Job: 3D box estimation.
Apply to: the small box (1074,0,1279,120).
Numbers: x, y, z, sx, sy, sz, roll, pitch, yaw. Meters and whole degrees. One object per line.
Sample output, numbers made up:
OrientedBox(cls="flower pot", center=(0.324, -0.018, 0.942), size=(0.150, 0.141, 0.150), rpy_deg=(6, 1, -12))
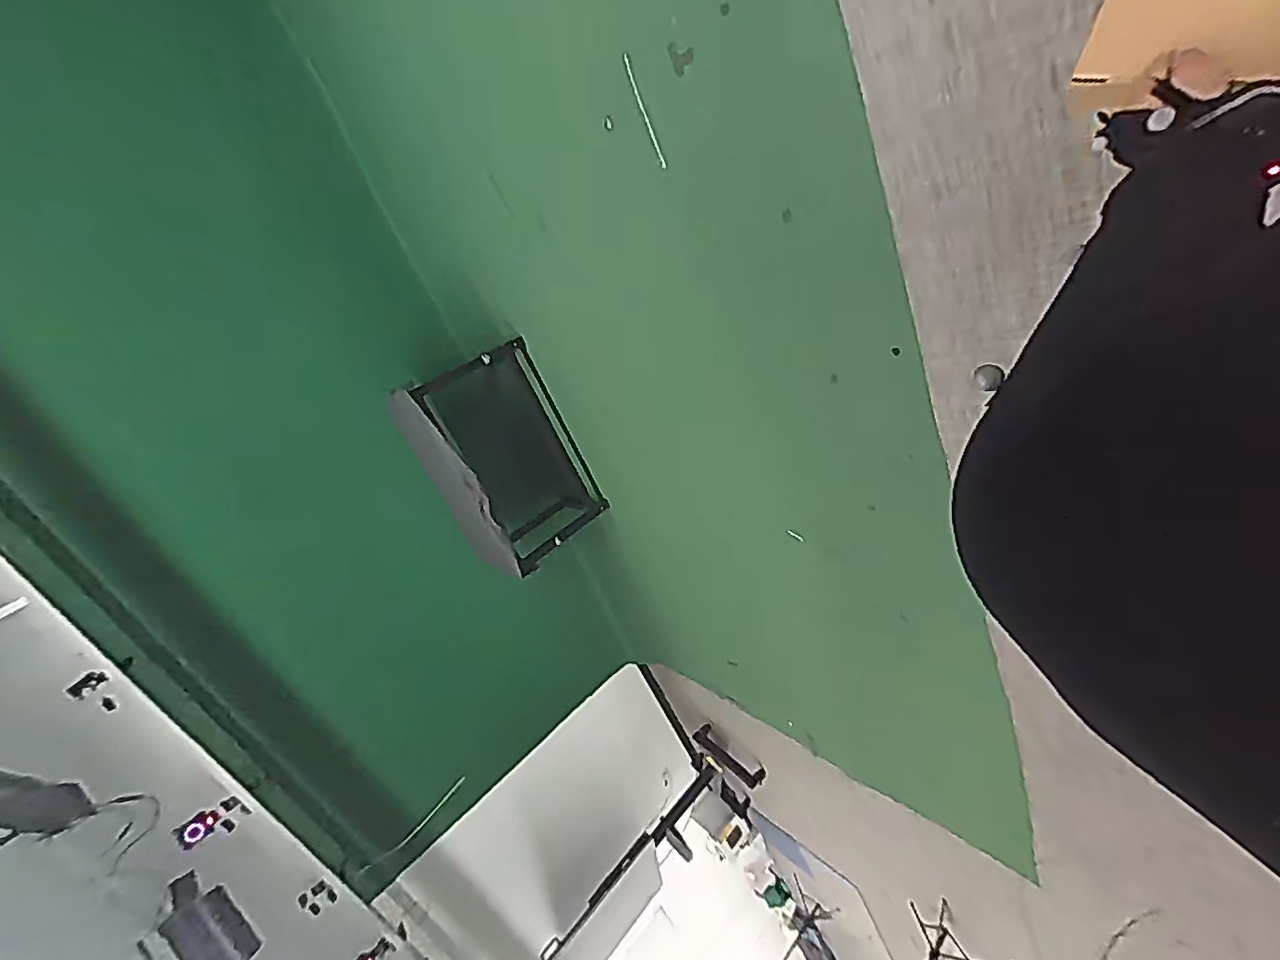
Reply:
OrientedBox(cls="small box", center=(0.538, -0.450, 0.501), size=(0.168, 0.179, 0.176), rpy_deg=(26, 122, 31))
